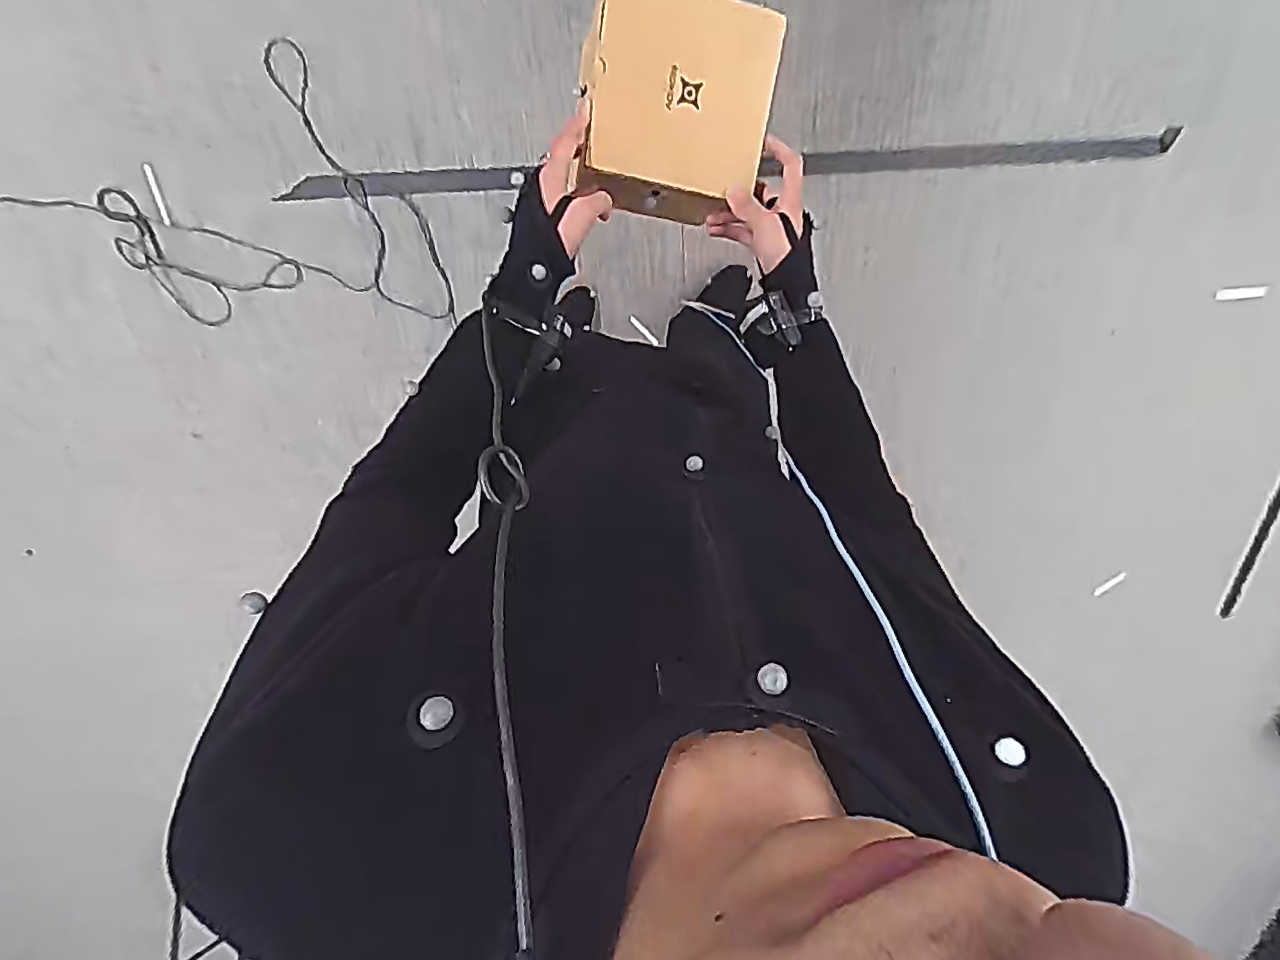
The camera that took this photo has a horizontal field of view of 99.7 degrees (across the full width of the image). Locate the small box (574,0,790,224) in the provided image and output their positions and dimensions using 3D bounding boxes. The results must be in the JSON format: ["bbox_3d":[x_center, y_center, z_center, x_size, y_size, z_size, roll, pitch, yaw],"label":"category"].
[{"bbox_3d":[0.030,-0.387,0.584,0.179,0.176,0.168,5,106,-13],"label":"small box"}]
